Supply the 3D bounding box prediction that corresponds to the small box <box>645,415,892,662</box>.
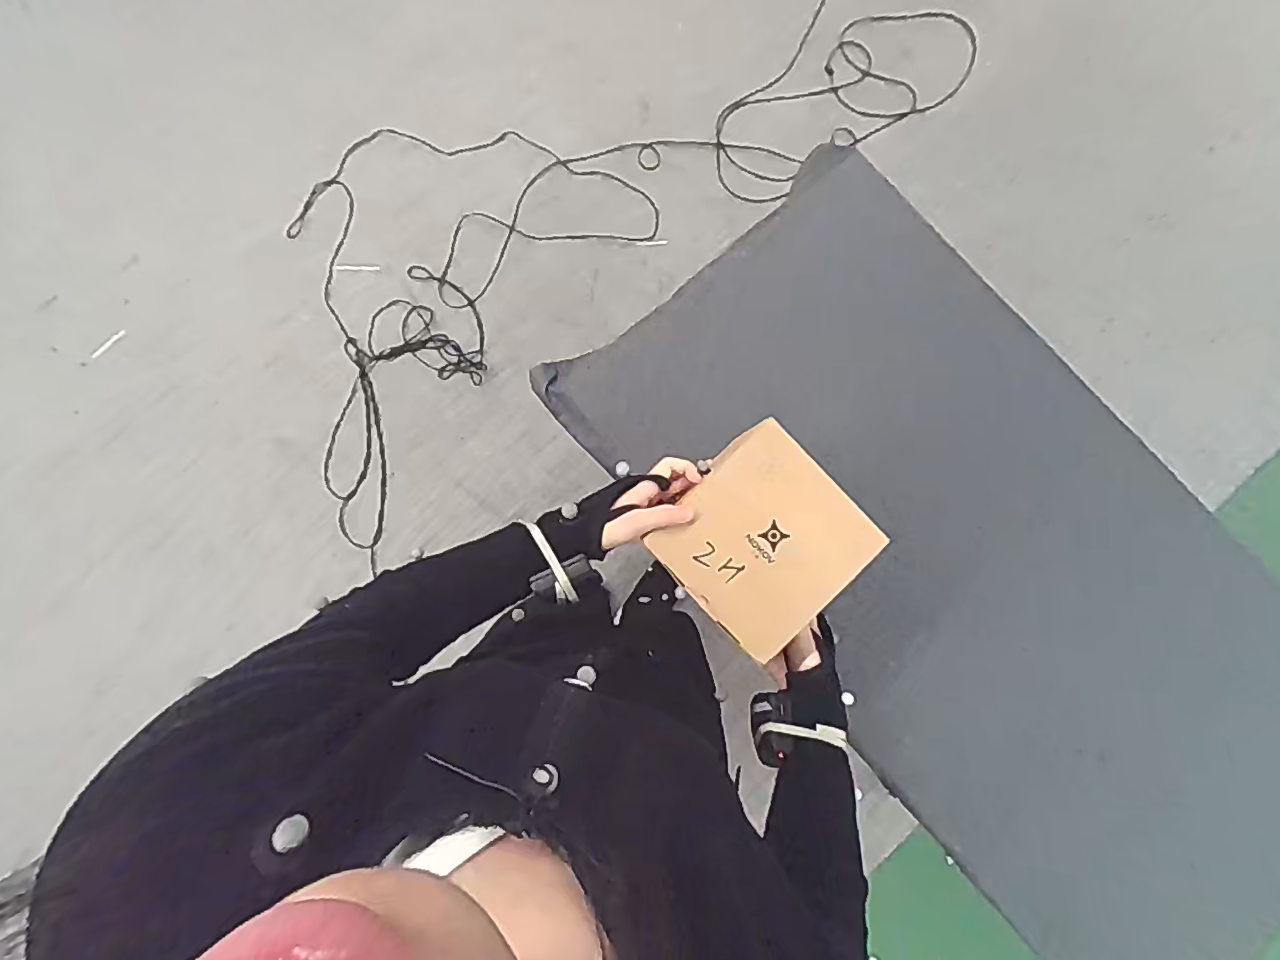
[{"bbox_3d":[0.120,0.057,0.586,0.179,0.176,0.168,-44,89,-5],"label":"small box"}]
